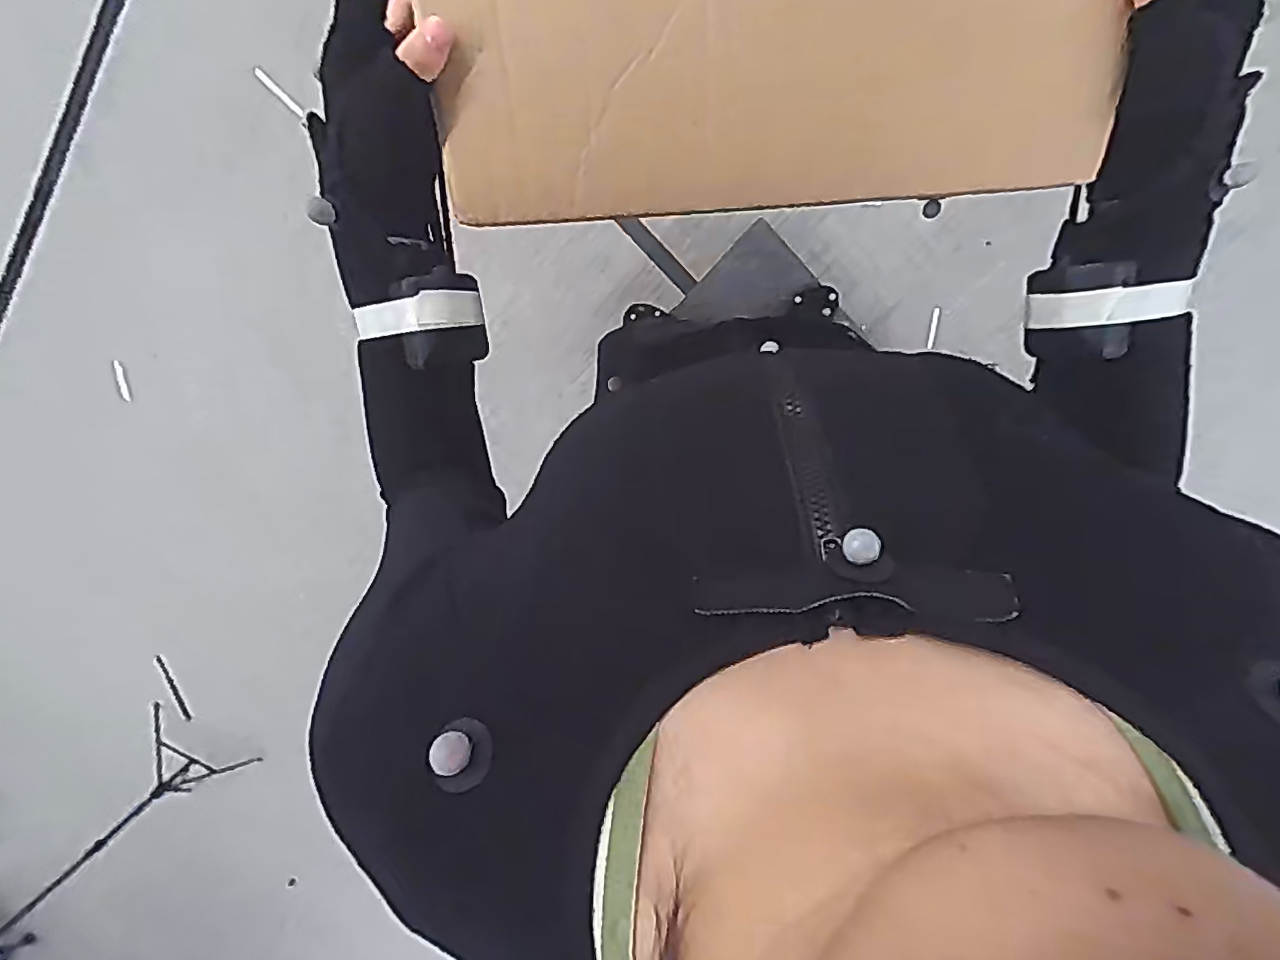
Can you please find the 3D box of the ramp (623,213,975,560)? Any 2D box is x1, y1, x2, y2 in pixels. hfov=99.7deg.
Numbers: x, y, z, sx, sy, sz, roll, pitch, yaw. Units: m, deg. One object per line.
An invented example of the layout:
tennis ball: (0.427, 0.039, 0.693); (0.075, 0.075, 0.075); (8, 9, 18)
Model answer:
ramp: (0.478, -0.188, 1.521); (0.991, 0.206, 0.509); (41, 109, -10)

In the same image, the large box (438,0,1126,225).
large box: (0.083, -0.391, 0.419); (0.408, 0.320, 0.320); (-2, 118, 3)
